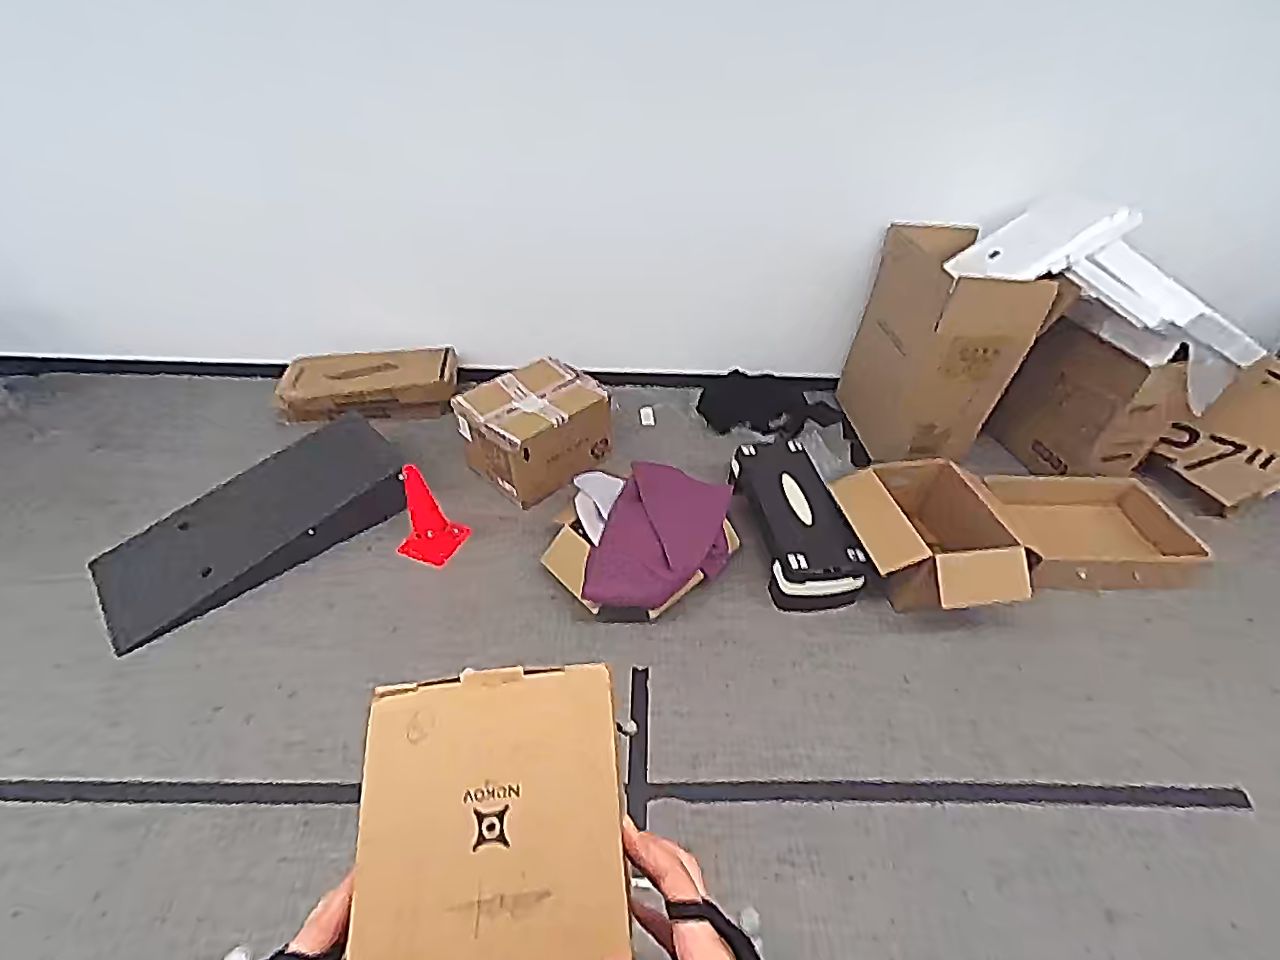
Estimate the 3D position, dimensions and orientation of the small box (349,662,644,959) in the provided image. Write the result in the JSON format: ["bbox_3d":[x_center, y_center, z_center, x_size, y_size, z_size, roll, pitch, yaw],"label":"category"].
[{"bbox_3d":[-0.089,0.242,0.404,0.168,0.176,0.179,-5,67,-3],"label":"small box"}]
